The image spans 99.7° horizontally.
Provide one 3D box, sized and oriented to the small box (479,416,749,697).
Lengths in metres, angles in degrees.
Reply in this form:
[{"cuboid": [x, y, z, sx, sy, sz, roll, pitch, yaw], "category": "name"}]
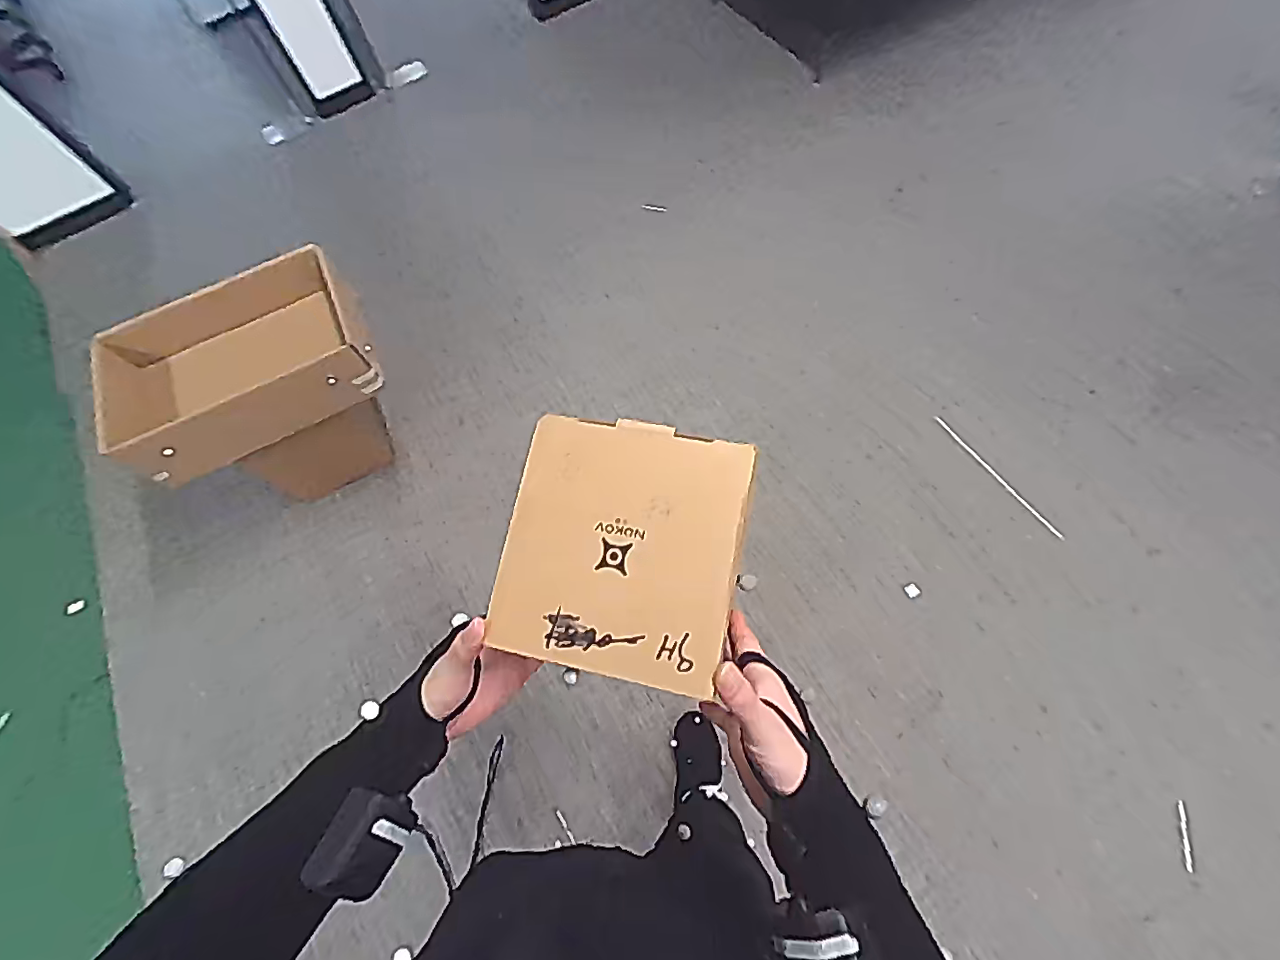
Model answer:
[{"cuboid": [-0.006, 0.066, 0.458, 0.168, 0.176, 0.179, 9, 77, 13], "category": "small box"}]
